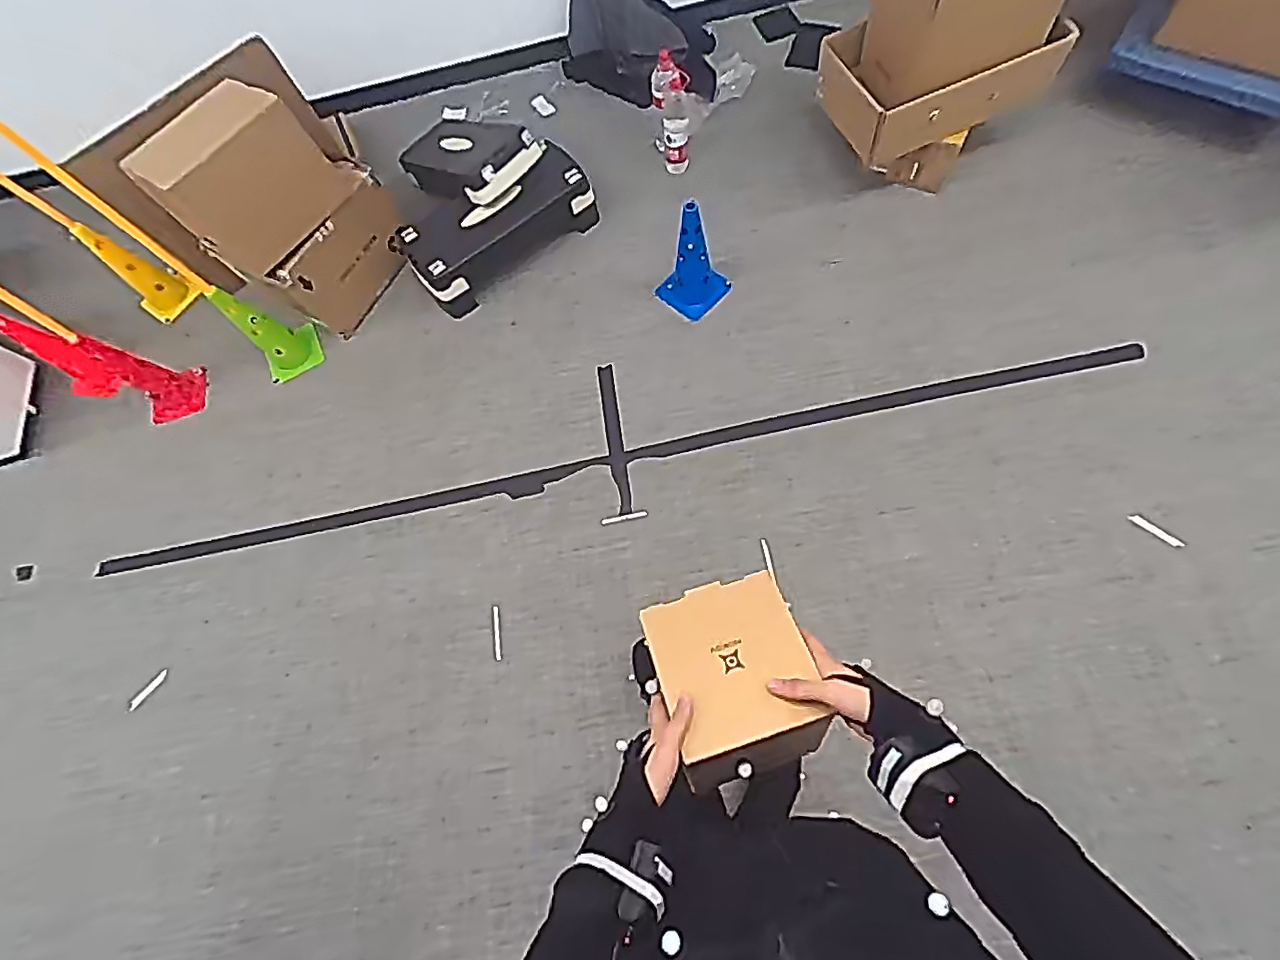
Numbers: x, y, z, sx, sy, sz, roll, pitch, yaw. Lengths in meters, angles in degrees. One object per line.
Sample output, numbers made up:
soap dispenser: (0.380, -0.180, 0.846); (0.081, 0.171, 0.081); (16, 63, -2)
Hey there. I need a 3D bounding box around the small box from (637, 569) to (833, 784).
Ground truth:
small box: (0.108, 0.241, 0.645); (0.168, 0.176, 0.179); (-18, 49, -4)
